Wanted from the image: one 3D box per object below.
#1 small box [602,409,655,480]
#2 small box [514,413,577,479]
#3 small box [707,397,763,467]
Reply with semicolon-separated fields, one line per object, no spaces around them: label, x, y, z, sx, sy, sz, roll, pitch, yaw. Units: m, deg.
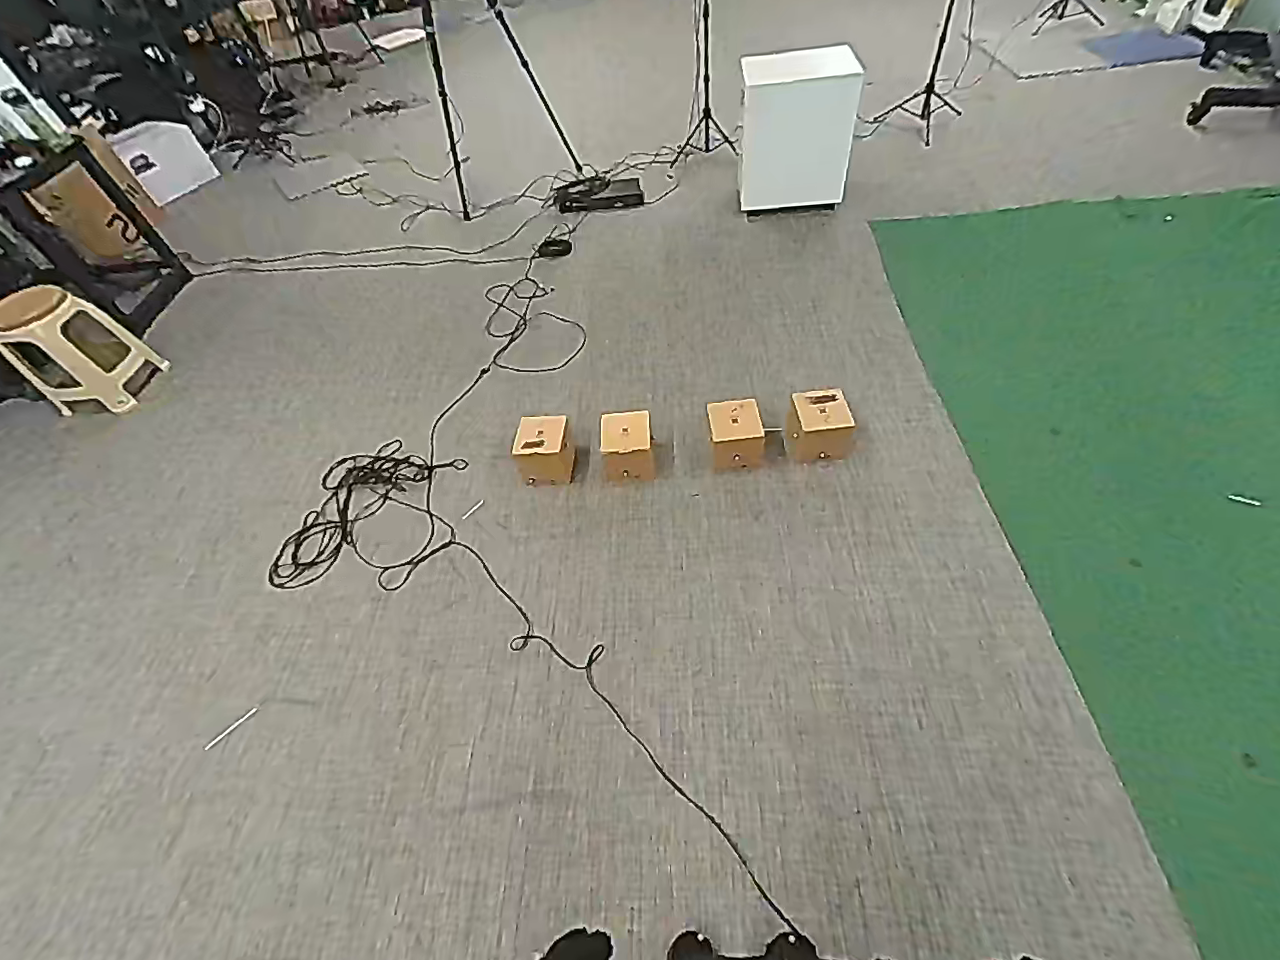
small box;-0.037;-0.122;1.869;0.168;0.176;0.179;-5;53;4
small box;-0.326;-0.115;1.901;0.168;0.176;0.179;-1;52;7
small box;0.320;-0.156;1.844;0.168;0.176;0.179;-6;52;3
